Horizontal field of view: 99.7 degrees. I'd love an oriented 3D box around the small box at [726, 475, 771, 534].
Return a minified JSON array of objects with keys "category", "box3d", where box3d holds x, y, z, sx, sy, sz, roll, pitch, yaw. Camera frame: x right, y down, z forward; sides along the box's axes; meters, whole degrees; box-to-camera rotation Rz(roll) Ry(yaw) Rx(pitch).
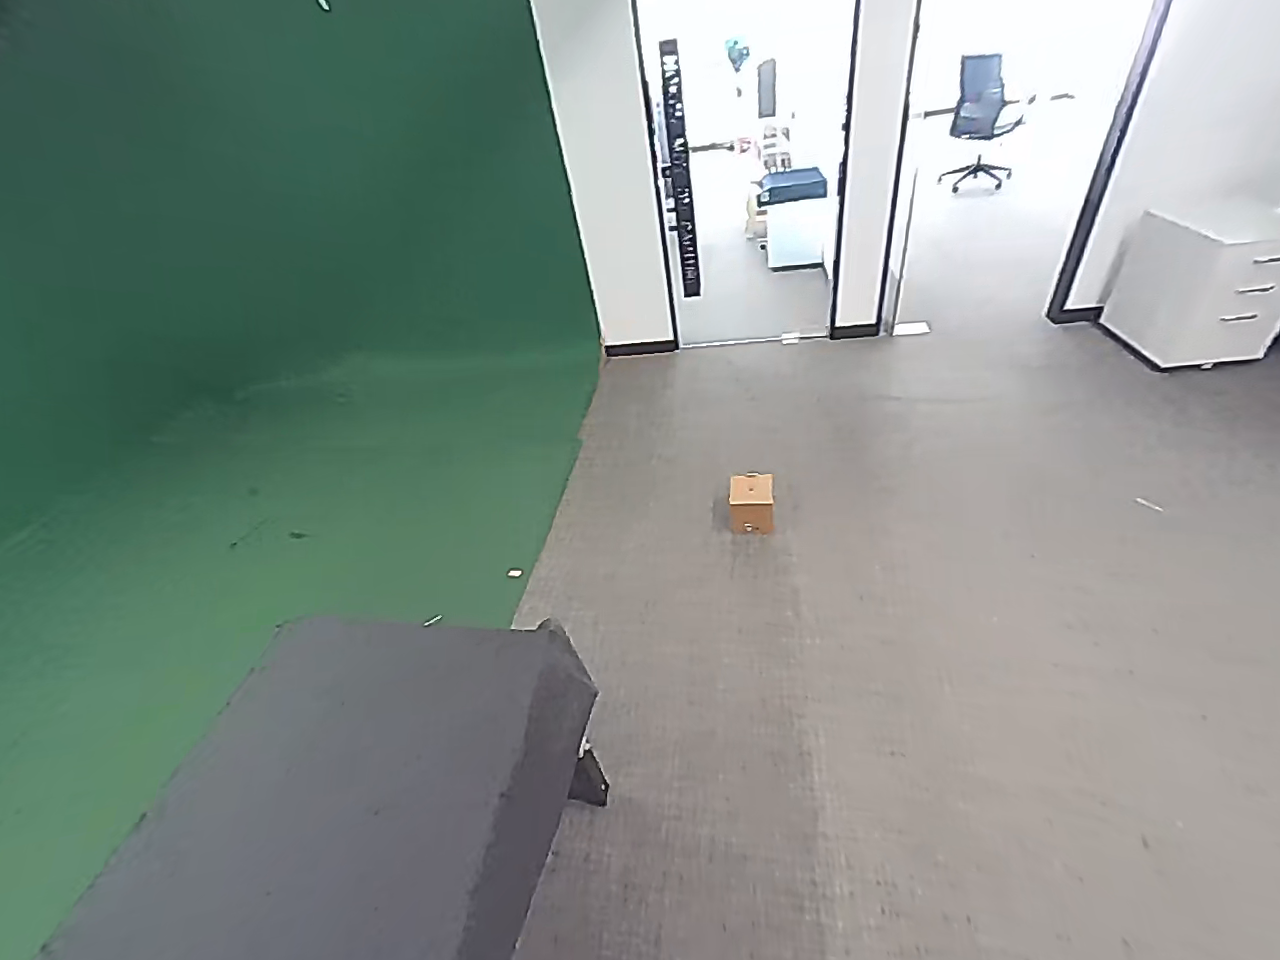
[{"category":"small box","box3d":[0.436,0.097,2.161,0.168,0.176,0.179,-1,40,15]}]
